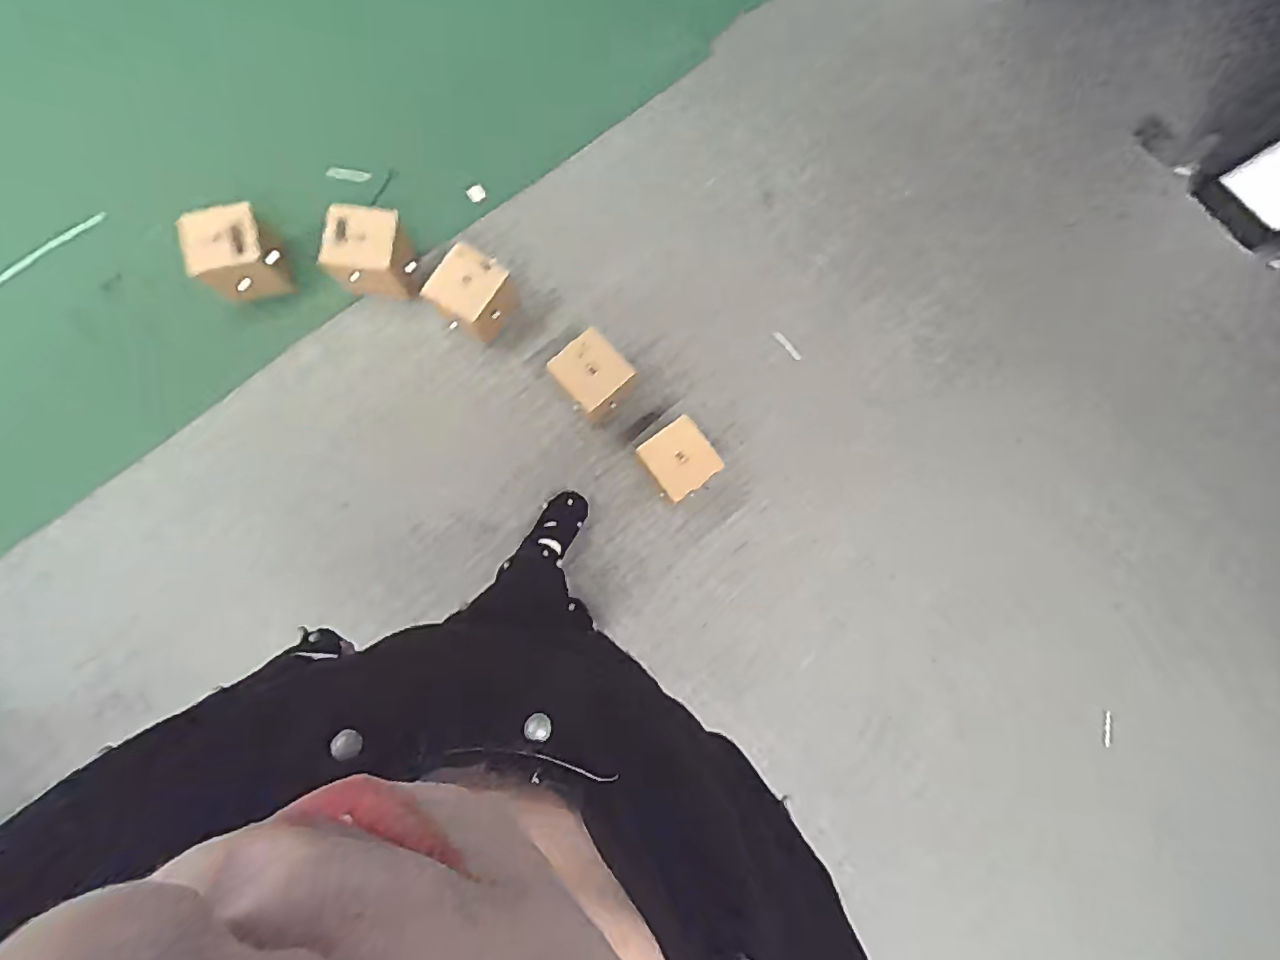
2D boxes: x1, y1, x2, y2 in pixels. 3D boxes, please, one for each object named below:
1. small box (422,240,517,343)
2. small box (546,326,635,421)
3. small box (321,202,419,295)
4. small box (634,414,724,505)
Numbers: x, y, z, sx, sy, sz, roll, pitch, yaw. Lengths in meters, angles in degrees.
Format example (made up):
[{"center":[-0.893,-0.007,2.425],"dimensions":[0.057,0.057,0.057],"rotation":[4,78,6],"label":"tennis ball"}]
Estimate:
[{"center":[-0.458,-0.510,1.489],"dimensions":[0.168,0.176,0.179],"rotation":[32,81,1],"label":"small box"},{"center":[-0.134,-0.280,1.479],"dimensions":[0.168,0.176,0.179],"rotation":[-41,87,-9],"label":"small box"},{"center":[-0.734,-0.627,1.486],"dimensions":[0.179,0.176,0.168],"rotation":[6,81,-4],"label":"small box"},{"center":[0.096,-0.048,1.466],"dimensions":[0.168,0.176,0.179],"rotation":[-36,87,-8],"label":"small box"}]
